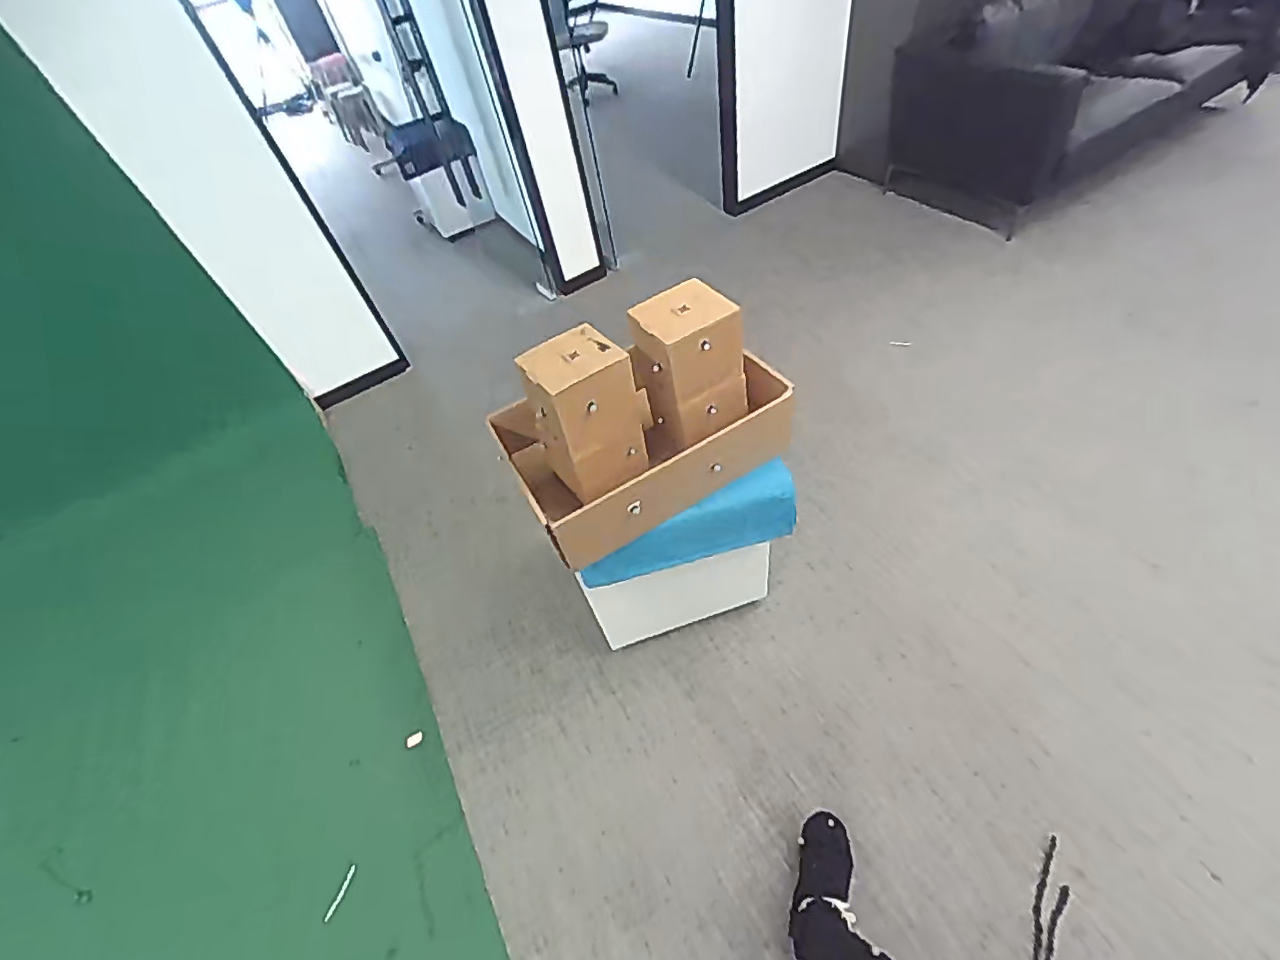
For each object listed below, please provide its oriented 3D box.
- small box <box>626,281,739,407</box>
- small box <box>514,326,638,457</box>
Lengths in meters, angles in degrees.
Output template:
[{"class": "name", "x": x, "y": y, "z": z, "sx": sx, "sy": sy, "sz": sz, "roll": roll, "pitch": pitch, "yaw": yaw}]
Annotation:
[{"class": "small box", "x": 0.097, "y": -0.285, "z": 1.148, "sx": 0.179, "sy": 0.176, "sz": 0.168, "roll": -29, "pitch": 50, "yaw": -11}, {"class": "small box", "x": -0.125, "y": -0.178, "z": 1.106, "sx": 0.179, "sy": 0.176, "sz": 0.168, "roll": -33, "pitch": 51, "yaw": -17}]
